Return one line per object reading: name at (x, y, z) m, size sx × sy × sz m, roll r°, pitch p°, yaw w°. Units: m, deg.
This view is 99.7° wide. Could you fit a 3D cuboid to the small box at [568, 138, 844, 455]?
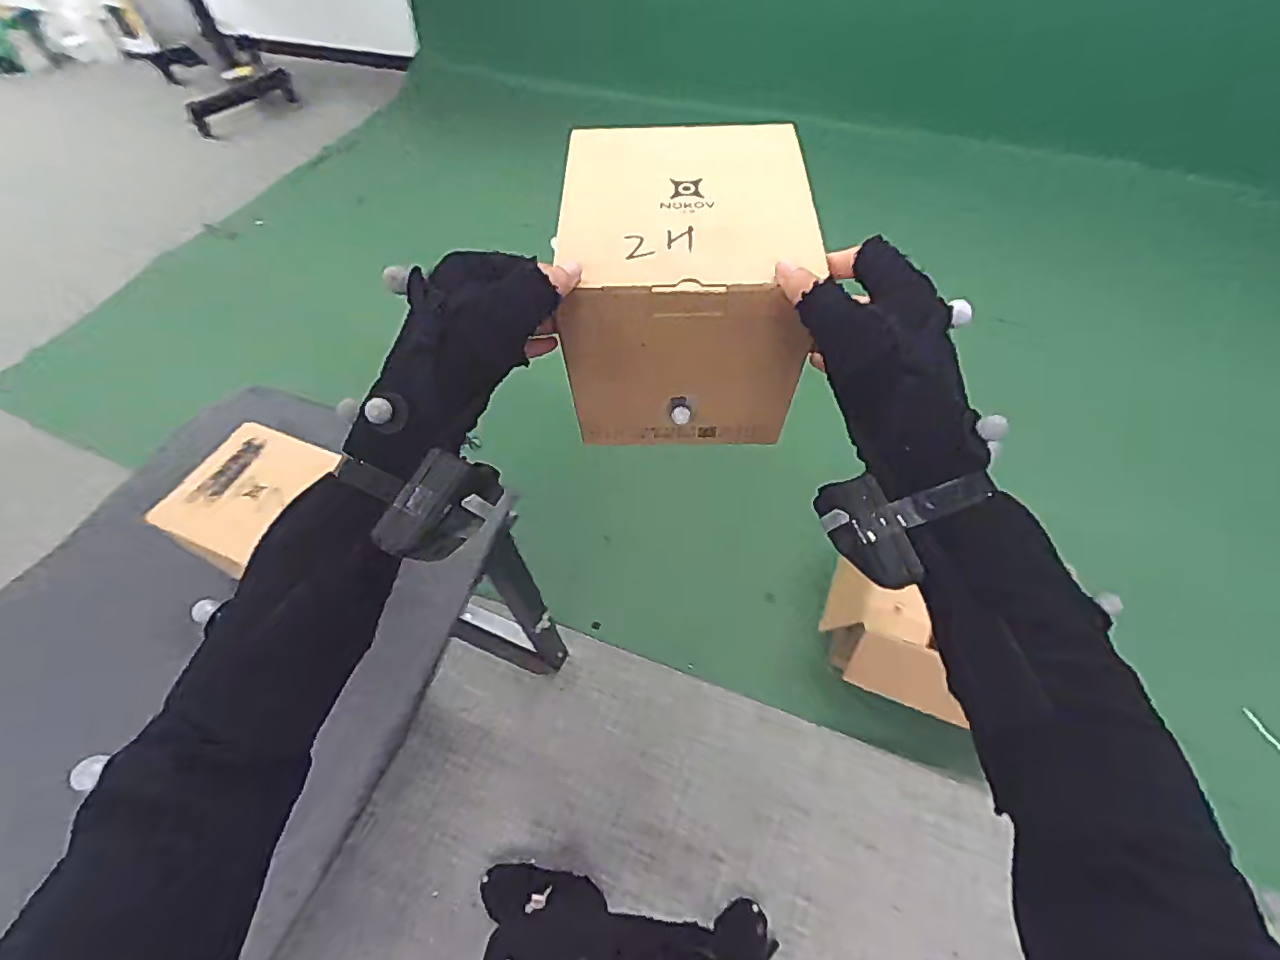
small box at (0.042, -0.139, 0.428) m, size 0.168 × 0.176 × 0.179 m, roll 0°, pitch 59°, yaw 3°
